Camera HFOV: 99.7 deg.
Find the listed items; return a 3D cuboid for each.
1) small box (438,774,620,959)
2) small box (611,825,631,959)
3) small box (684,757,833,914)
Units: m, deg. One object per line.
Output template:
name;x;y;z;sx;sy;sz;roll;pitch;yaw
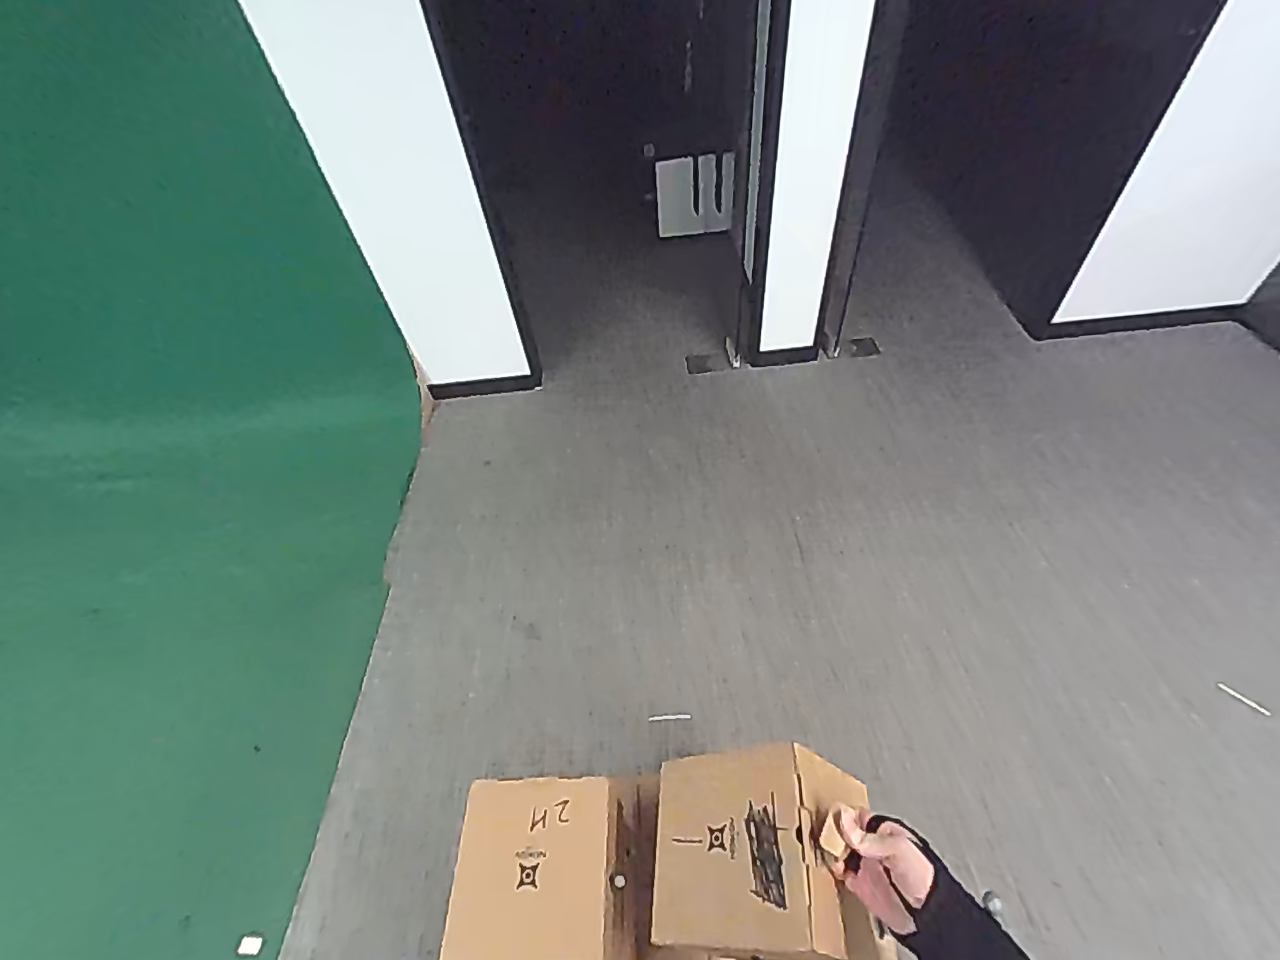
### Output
small box;-0.114;0.466;0.644;0.168;0.176;0.179;-2;49;3
small box;-0.101;0.583;0.759;0.168;0.176;0.179;-4;49;3
small box;0.160;0.518;0.786;0.179;0.176;0.168;-7;48;3
